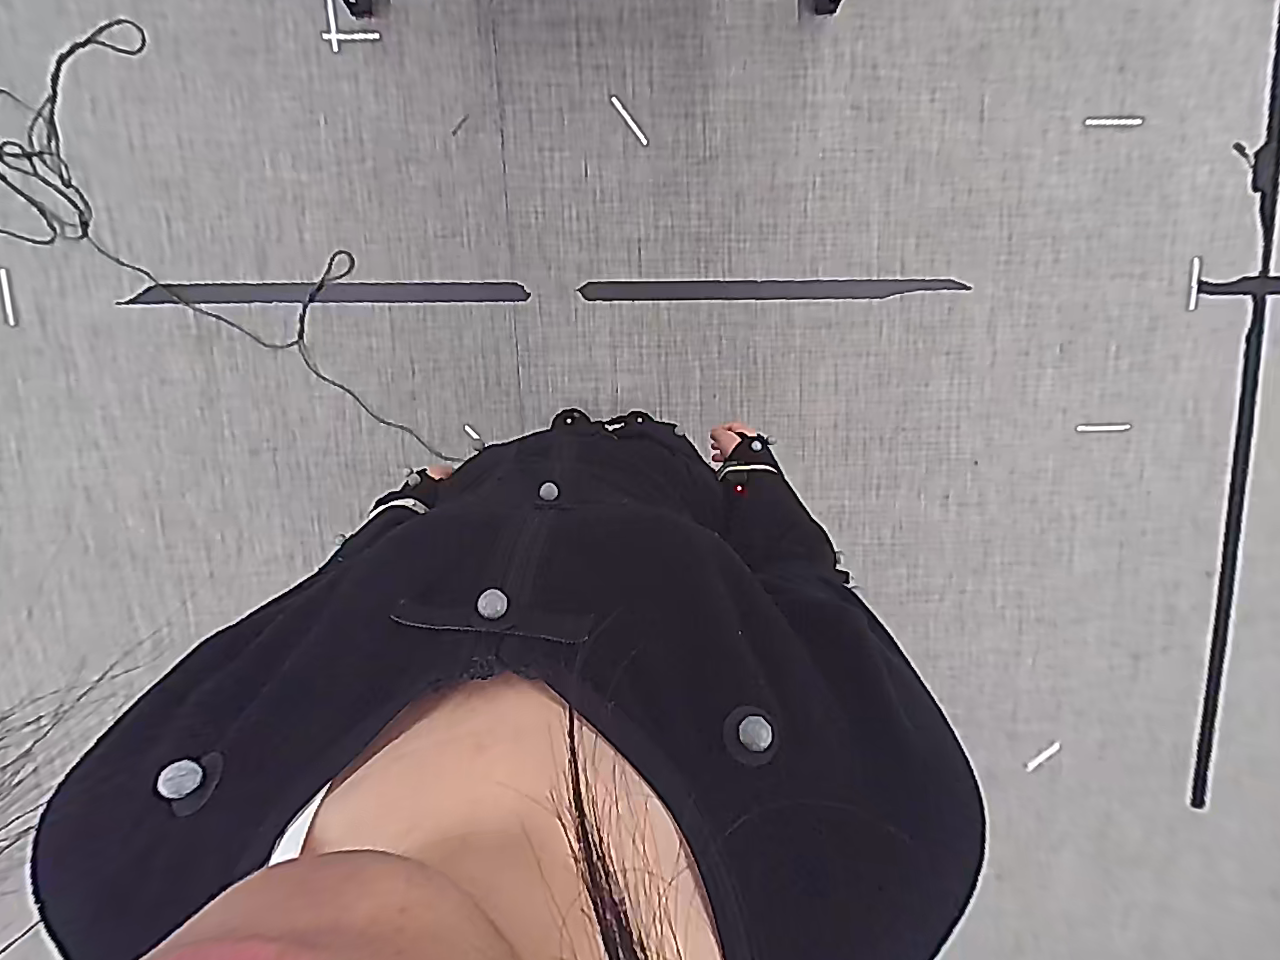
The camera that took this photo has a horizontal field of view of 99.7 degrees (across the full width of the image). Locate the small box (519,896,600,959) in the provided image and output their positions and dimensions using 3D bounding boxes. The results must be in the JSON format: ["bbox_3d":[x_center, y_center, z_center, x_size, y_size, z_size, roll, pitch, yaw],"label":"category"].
[{"bbox_3d":[-0.182,1.109,1.255,0.179,0.176,0.168,-3,96,-1],"label":"small box"}]
